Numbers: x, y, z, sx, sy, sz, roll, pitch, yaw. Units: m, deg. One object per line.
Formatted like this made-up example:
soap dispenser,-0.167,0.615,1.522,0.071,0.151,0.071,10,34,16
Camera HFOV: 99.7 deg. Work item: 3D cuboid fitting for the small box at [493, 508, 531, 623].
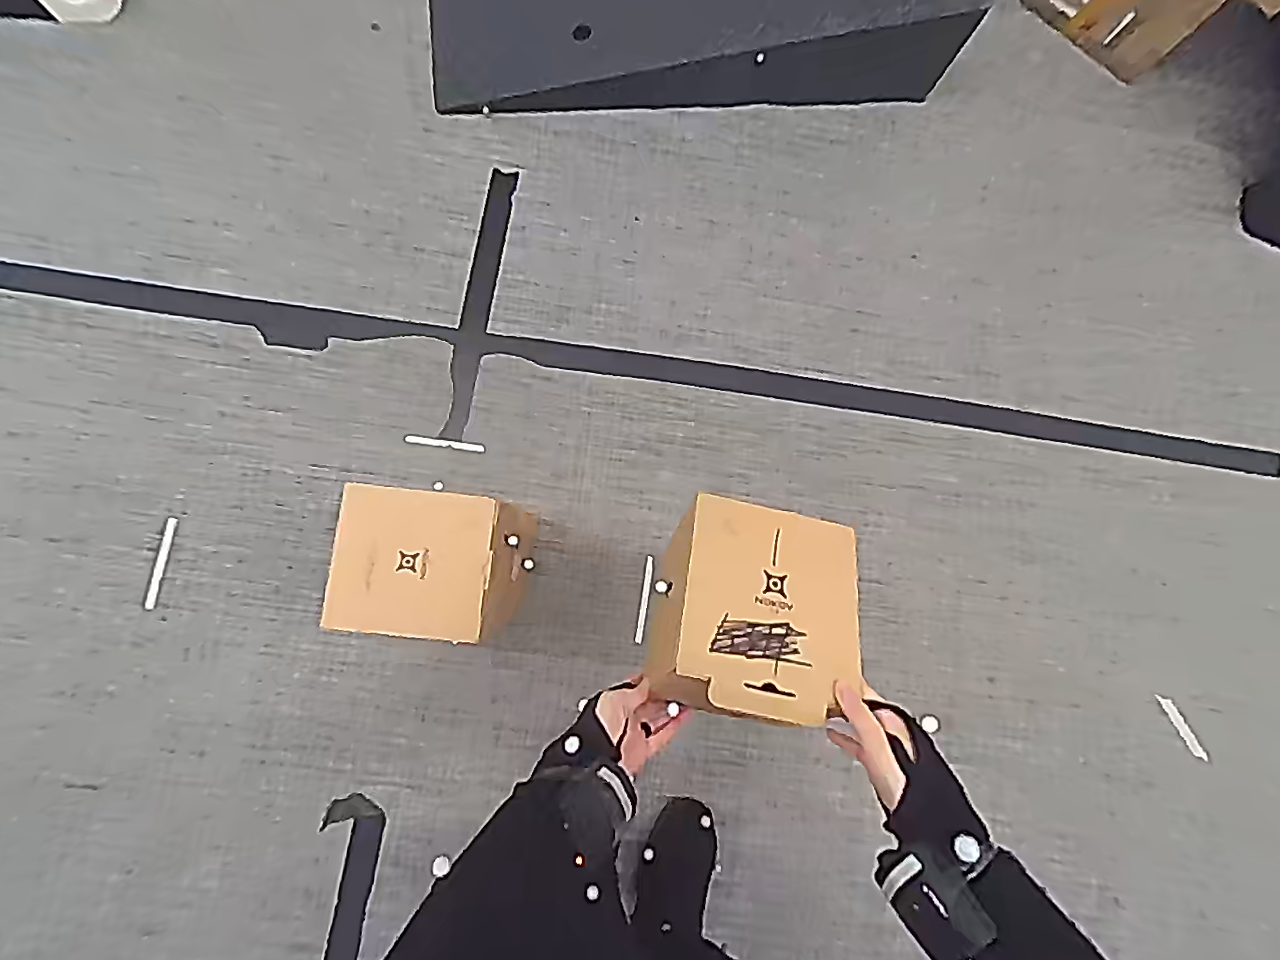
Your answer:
small box,-0.272,0.115,0.835,0.179,0.176,0.168,9,83,-4

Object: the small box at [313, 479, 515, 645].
small box,-0.261,0.098,0.672,0.179,0.176,0.168,7,82,-3

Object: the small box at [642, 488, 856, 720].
small box,0.103,0.137,0.558,0.168,0.176,0.179,13,59,-4
